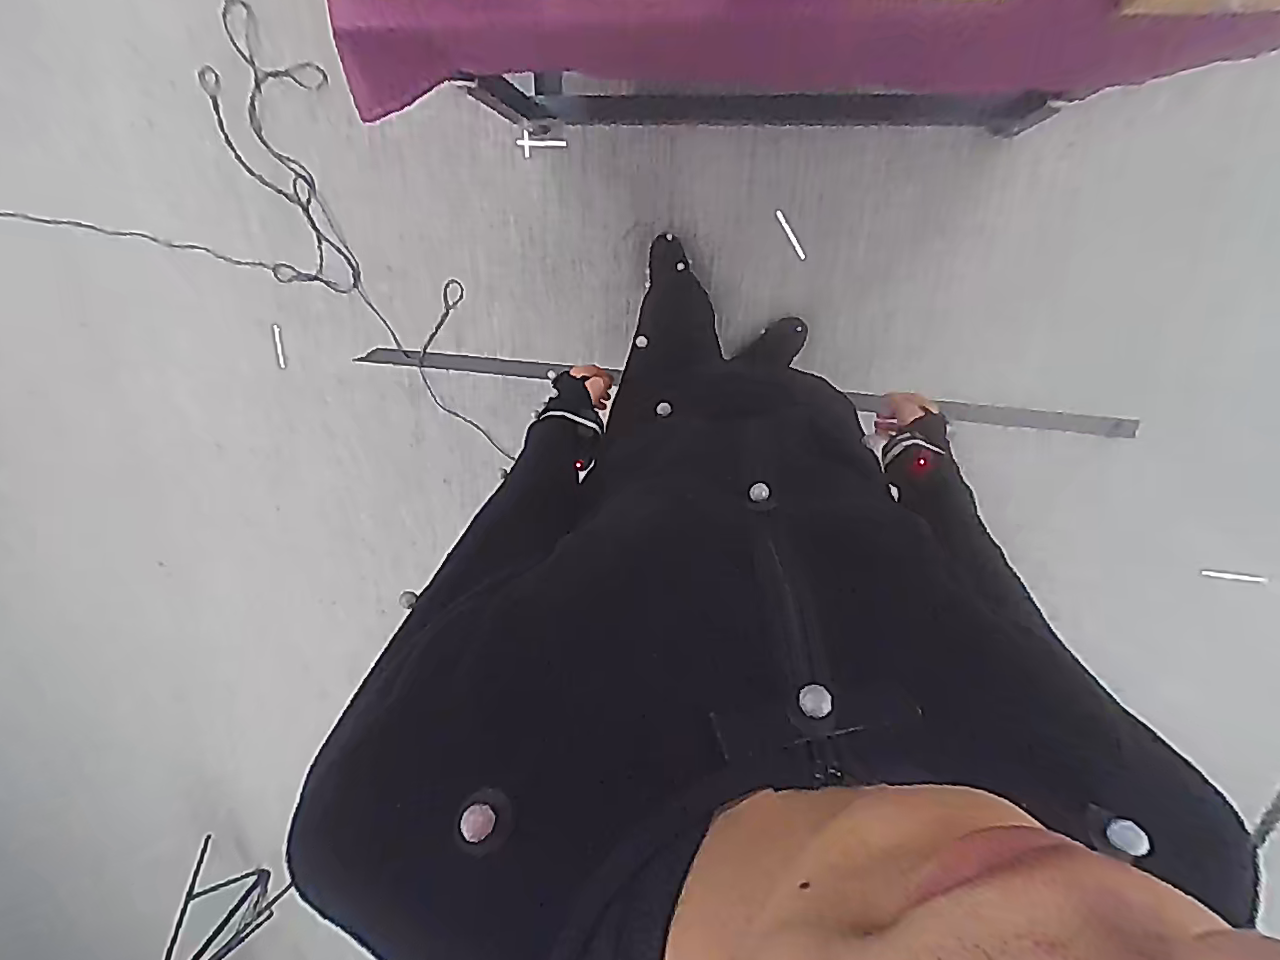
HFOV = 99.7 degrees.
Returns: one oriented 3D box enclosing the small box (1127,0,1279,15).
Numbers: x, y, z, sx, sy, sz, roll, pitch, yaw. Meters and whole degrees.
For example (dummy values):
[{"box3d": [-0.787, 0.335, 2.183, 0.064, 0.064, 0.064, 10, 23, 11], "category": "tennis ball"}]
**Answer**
[{"box3d": [0.605, -0.571, 0.494, 0.168, 0.176, 0.179, 7, 111, 10], "category": "small box"}]
